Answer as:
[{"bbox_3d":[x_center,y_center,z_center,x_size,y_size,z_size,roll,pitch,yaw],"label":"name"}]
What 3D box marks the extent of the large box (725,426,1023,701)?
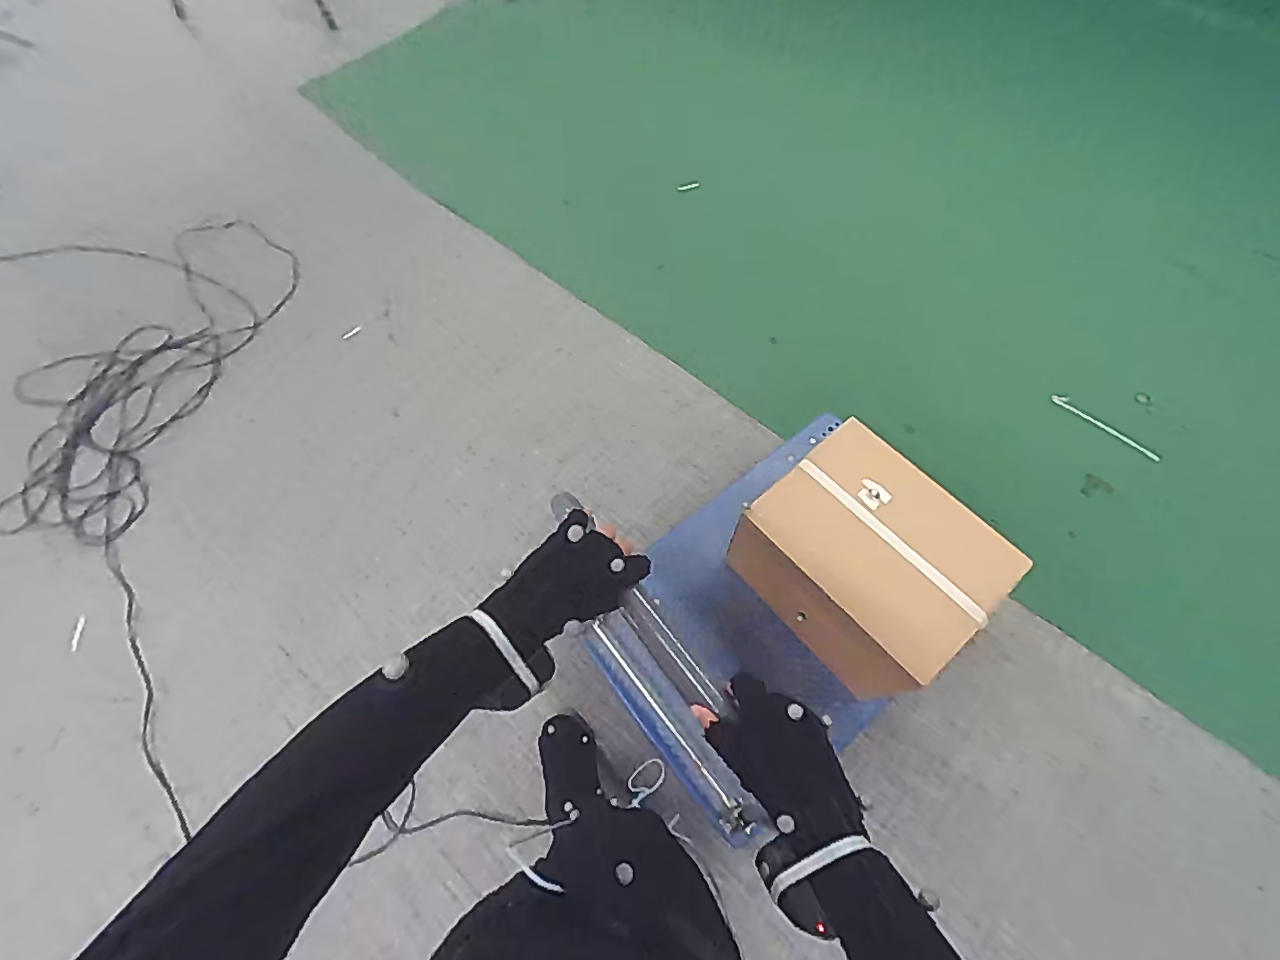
[{"bbox_3d":[0.430,0.176,1.098,0.320,0.320,0.408,-38,67,-16],"label":"large box"}]
